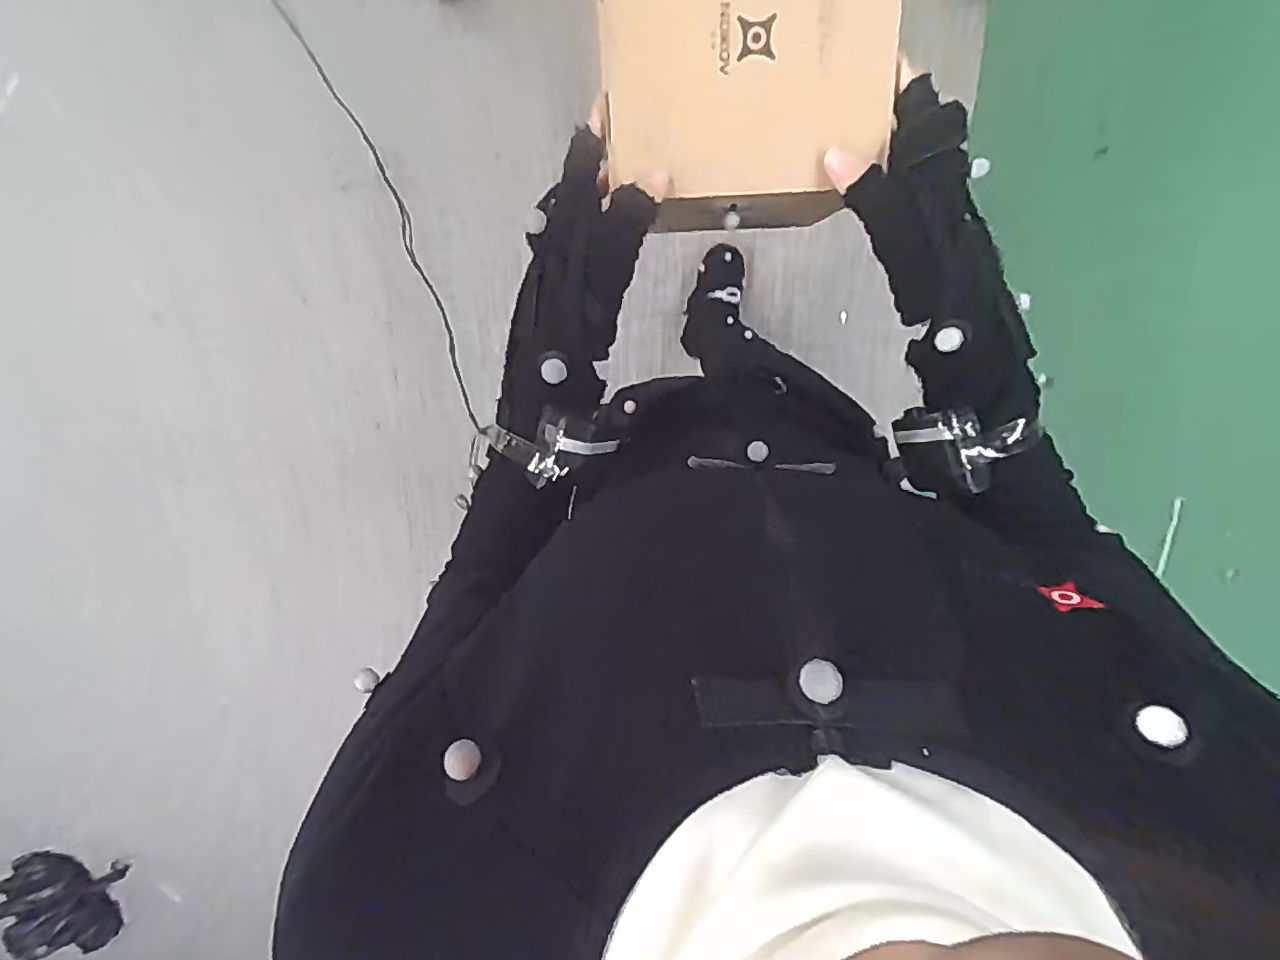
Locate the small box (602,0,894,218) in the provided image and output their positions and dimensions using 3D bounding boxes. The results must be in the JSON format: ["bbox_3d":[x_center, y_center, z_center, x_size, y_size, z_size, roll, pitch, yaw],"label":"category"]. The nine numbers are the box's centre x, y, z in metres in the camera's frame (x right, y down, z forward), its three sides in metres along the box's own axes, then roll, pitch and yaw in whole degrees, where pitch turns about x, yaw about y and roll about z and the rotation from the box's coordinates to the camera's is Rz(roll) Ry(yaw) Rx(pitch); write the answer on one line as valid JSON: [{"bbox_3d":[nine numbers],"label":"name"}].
[{"bbox_3d":[0.065,-0.299,0.400,0.179,0.176,0.168,-4,108,0],"label":"small box"}]
